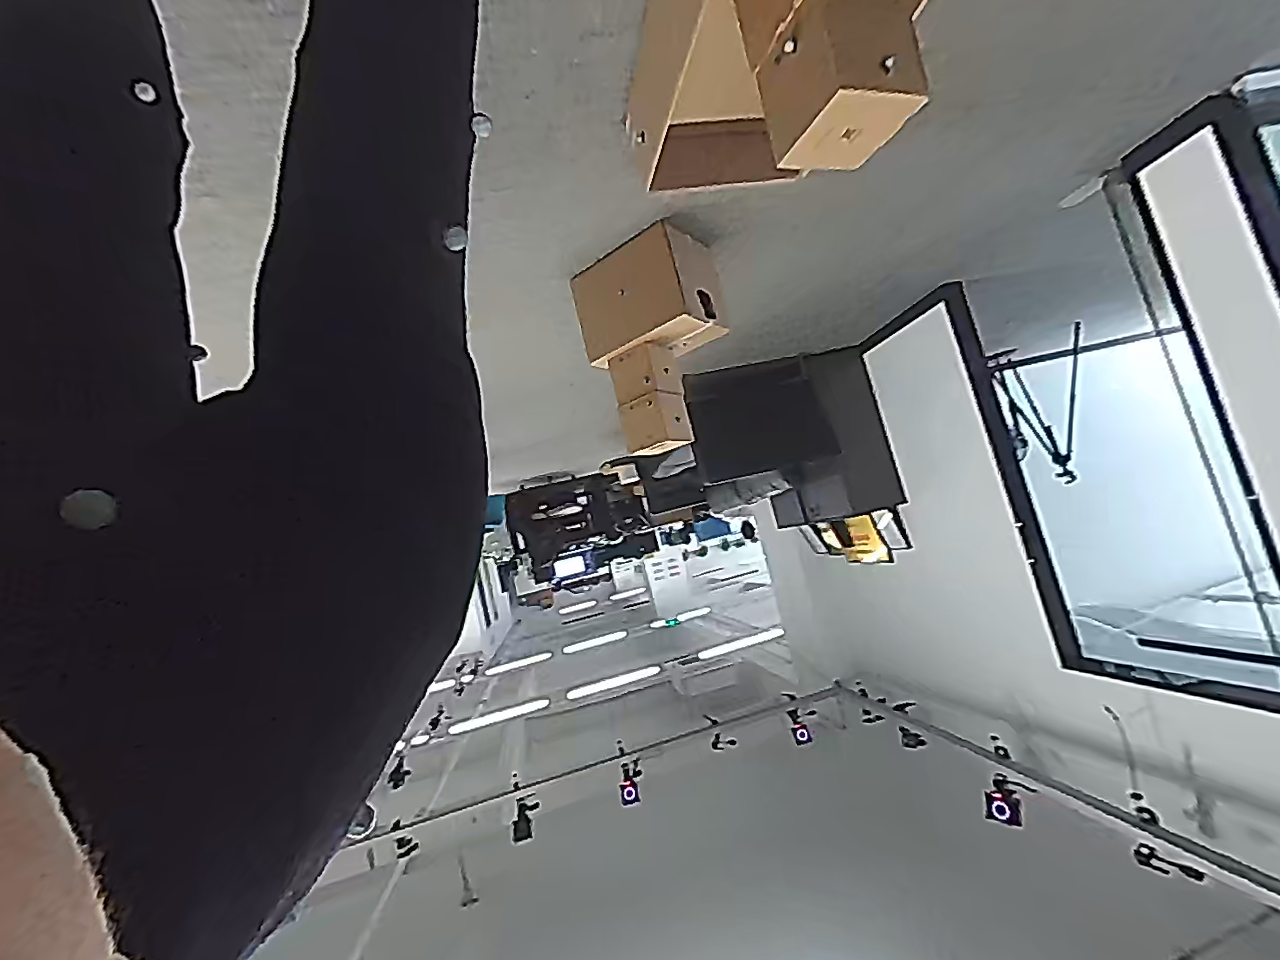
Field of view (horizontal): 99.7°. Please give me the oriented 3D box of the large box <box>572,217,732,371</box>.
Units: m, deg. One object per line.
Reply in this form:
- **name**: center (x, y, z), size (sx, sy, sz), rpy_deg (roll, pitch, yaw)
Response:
- **large box**: center (0.035, -0.607, 1.844), size (0.408, 0.320, 0.320), rpy_deg (-20, 173, 36)

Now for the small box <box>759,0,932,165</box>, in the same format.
- **small box**: center (0.317, -0.633, 0.858), size (0.179, 0.176, 0.168), rpy_deg (-11, 176, -20)

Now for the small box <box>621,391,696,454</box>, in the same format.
- **small box**: center (0.059, -0.191, 1.813), size (0.168, 0.176, 0.179), rpy_deg (-19, 173, 34)

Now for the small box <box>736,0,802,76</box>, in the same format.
- **small box**: center (0.275, -0.791, 0.866), size (0.179, 0.176, 0.168), rpy_deg (-11, 177, -16)
